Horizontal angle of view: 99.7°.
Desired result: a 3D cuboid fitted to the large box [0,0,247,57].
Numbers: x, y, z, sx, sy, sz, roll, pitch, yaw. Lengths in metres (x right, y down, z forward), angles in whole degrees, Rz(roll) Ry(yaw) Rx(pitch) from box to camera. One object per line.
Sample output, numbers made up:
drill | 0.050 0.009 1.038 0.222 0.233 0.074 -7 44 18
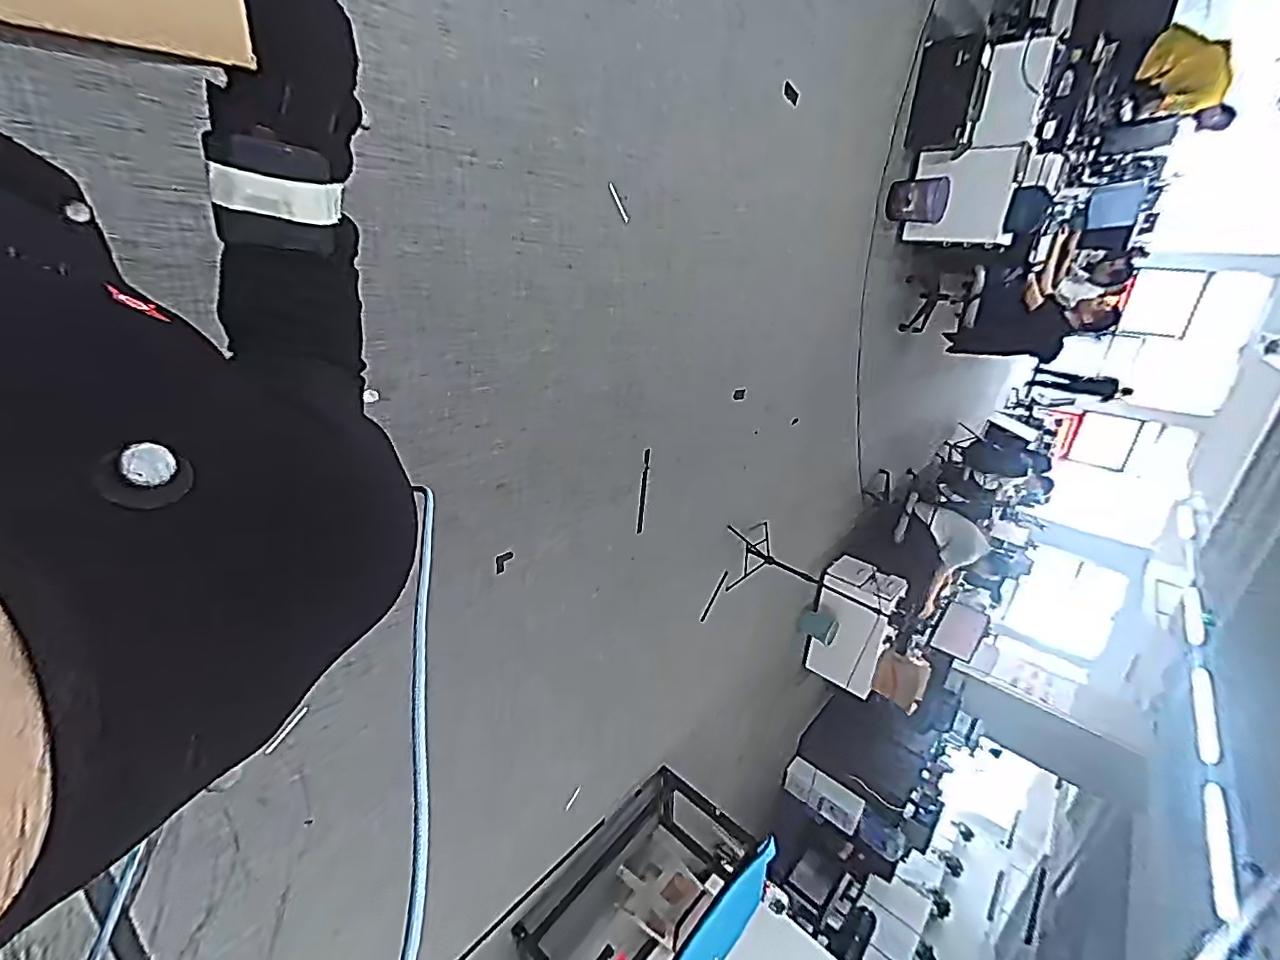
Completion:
large box | -0.431 -0.356 0.159 0.408 0.320 0.320 -23 134 -42
